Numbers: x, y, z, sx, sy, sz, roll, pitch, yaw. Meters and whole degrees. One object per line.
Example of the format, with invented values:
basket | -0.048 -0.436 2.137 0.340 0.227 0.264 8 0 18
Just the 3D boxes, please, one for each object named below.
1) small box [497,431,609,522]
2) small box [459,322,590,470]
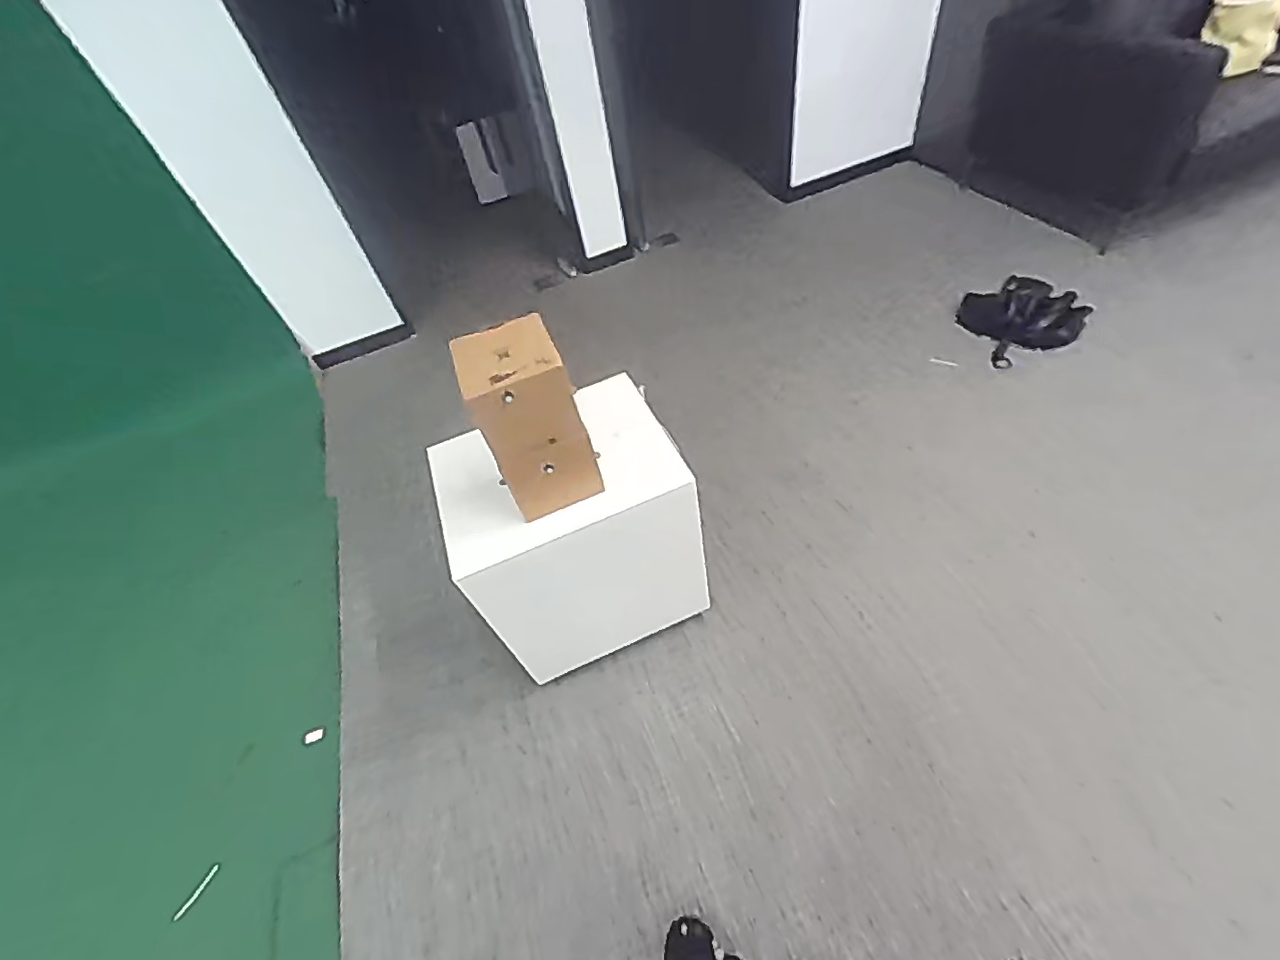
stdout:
small box | -0.180 -0.042 1.090 0.179 0.176 0.168 -22 50 -9
small box | -0.204 -0.149 0.972 0.168 0.176 0.179 -23 50 -9
